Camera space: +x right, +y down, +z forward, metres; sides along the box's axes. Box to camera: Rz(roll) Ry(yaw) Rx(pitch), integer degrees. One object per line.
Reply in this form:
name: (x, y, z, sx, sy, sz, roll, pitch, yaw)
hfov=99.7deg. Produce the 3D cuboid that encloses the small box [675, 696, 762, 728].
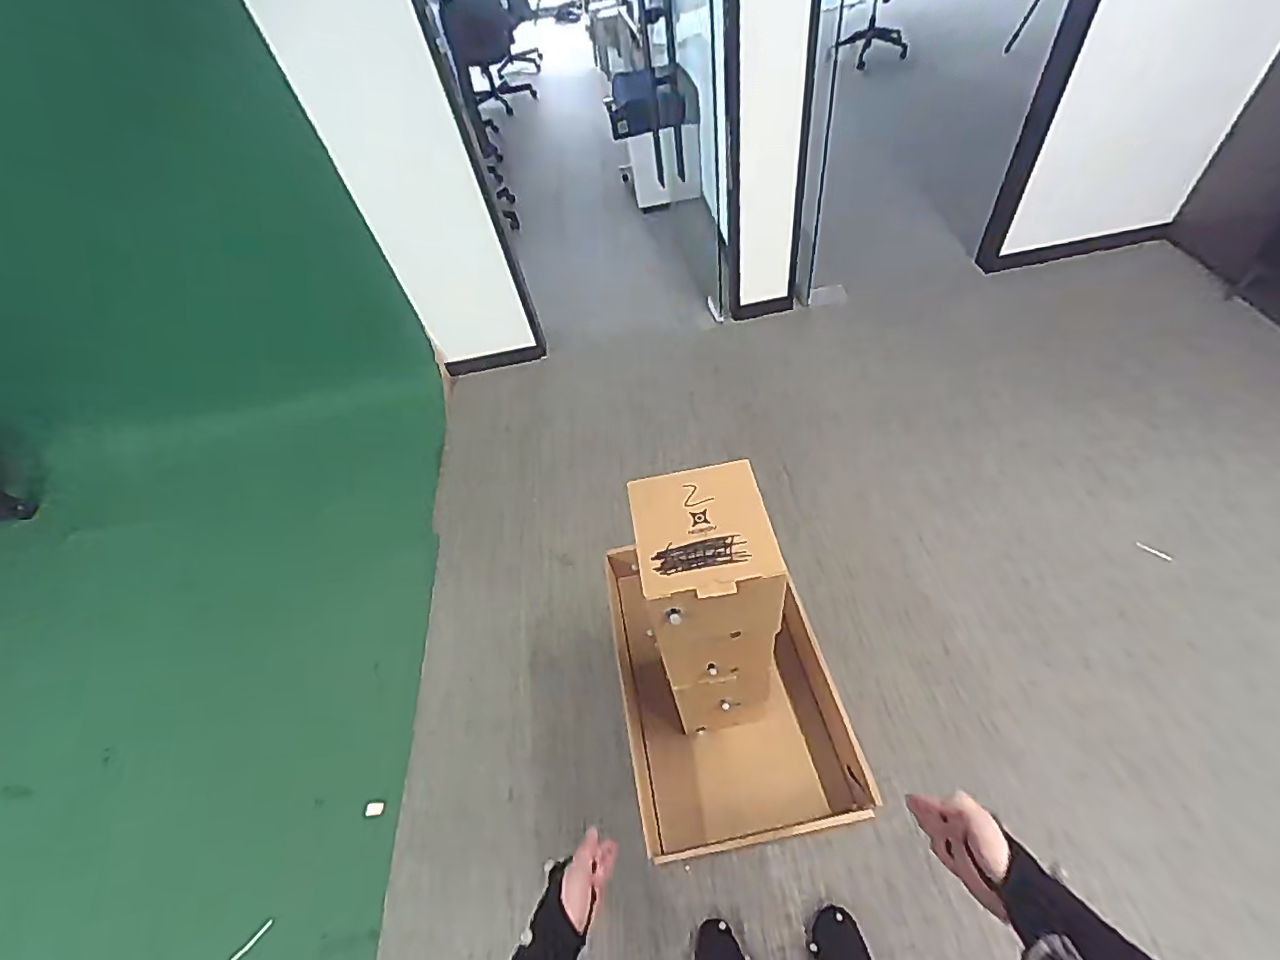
small box: (0.150, 0.391, 1.105, 0.168, 0.176, 0.179, -12, 50, 1)

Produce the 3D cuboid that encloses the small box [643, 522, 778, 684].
small box: (0.105, 0.194, 0.849, 0.168, 0.176, 0.179, -12, 51, 0)

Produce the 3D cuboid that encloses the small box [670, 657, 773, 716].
small box: (0.130, 0.298, 0.971, 0.168, 0.176, 0.179, -13, 51, 1)
